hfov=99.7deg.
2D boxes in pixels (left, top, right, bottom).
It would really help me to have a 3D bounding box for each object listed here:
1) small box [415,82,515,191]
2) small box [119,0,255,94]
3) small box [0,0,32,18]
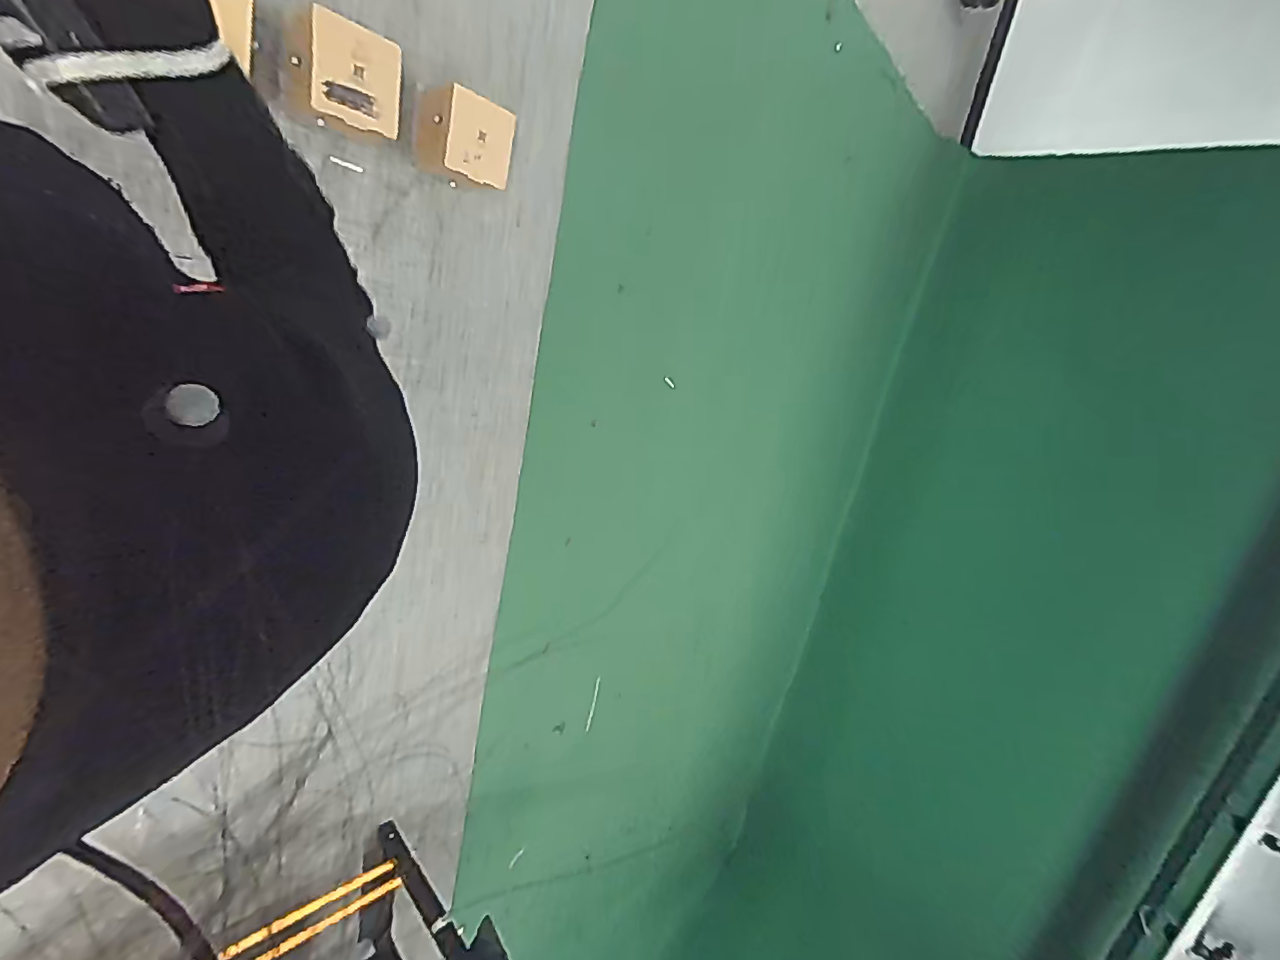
[{"bbox_3d":[-0.437,-0.838,1.337,0.168,0.176,0.179,-2,111,-47],"label":"small box"},{"bbox_3d":[-0.796,-0.818,0.947,0.168,0.176,0.179,-2,111,-47],"label":"small box"},{"bbox_3d":[-0.974,-0.803,0.756,0.168,0.176,0.179,4,106,-49],"label":"small box"}]
